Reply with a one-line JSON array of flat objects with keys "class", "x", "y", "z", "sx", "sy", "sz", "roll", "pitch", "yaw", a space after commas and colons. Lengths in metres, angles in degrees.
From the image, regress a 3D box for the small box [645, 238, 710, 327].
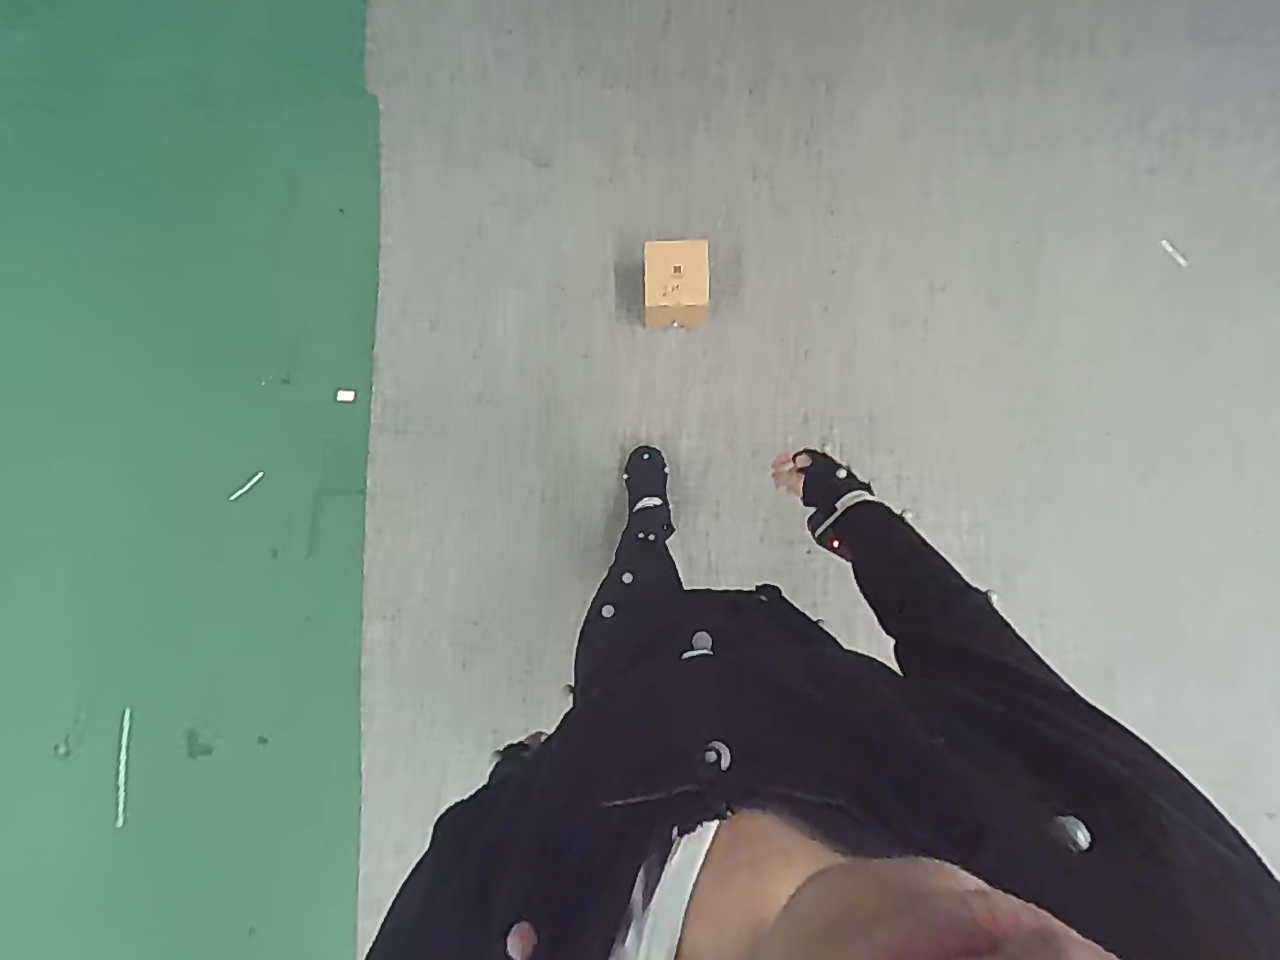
[{"class": "small box", "x": 0.098, "y": -0.528, "z": 1.460, "sx": 0.168, "sy": 0.176, "sz": 0.179, "roll": 0, "pitch": 87, "yaw": 2}]
